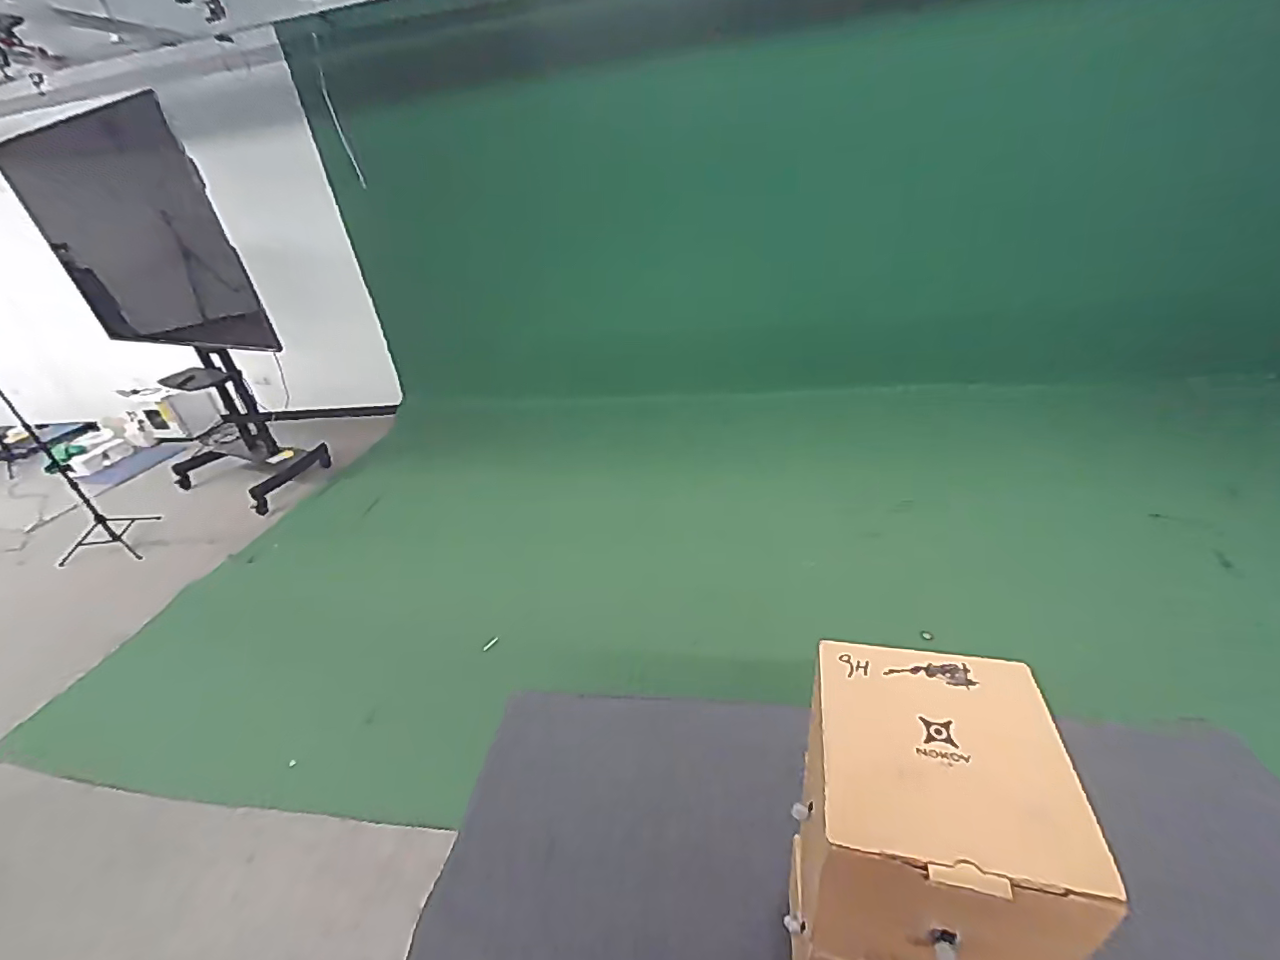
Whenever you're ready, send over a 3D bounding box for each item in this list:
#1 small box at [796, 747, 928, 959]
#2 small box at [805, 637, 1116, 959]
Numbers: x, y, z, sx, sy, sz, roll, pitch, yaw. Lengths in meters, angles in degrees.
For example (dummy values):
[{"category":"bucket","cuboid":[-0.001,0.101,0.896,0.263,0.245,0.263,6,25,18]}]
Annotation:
[{"category":"small box","cuboid":[0.242,0.398,0.522,0.168,0.176,0.179,2,32,14]},{"category":"small box","cuboid":[0.226,0.259,0.437,0.168,0.176,0.179,3,34,16]}]
